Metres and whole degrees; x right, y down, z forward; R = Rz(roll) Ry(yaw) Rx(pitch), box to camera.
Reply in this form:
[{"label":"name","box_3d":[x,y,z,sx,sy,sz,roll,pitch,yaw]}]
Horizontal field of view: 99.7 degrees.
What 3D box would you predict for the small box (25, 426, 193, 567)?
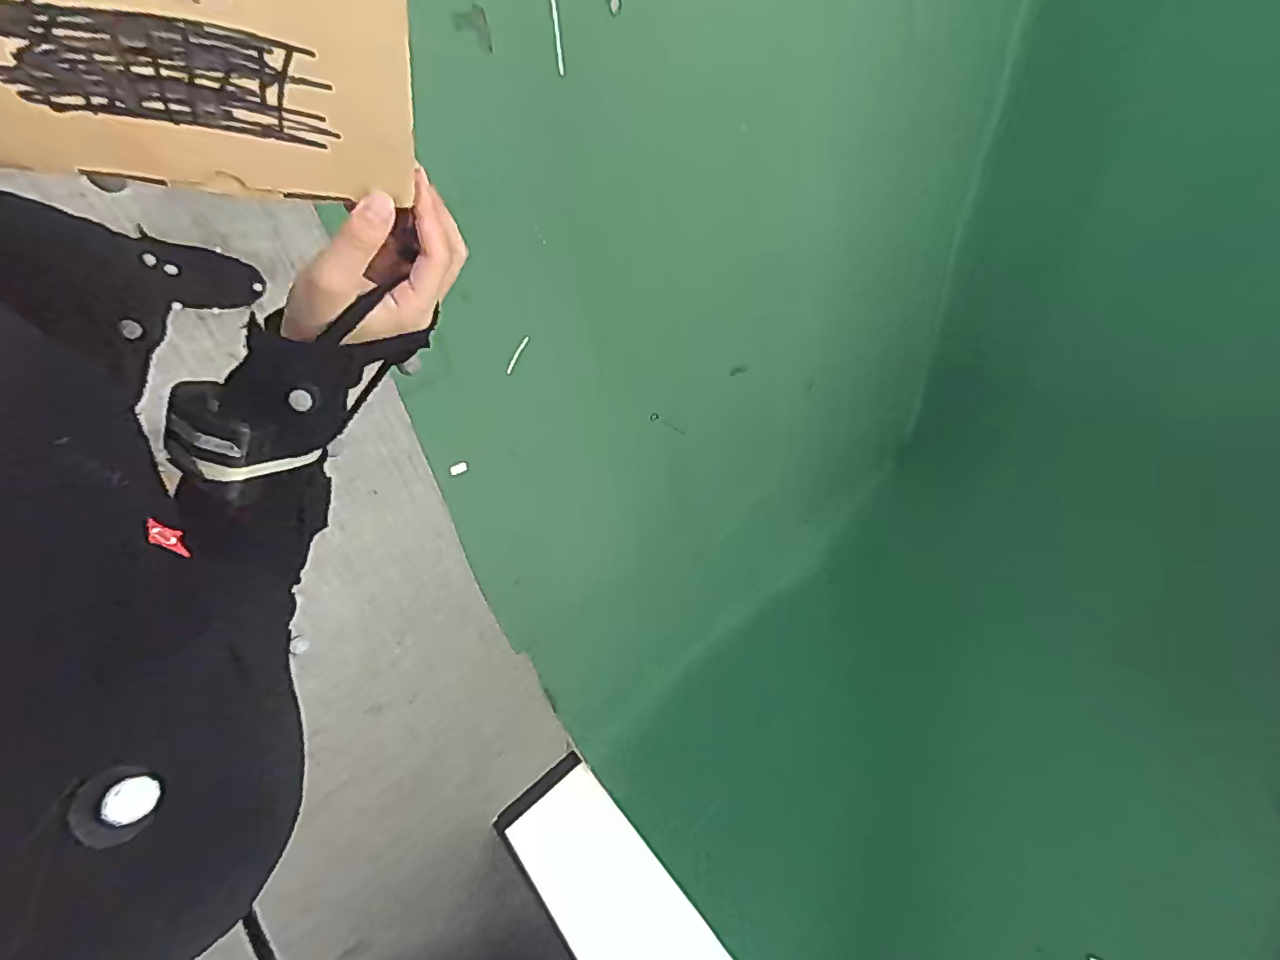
[{"label":"small box","box_3d":[-0.995,0.025,1.028,0.168,0.176,0.179,-29,133,-29]}]
